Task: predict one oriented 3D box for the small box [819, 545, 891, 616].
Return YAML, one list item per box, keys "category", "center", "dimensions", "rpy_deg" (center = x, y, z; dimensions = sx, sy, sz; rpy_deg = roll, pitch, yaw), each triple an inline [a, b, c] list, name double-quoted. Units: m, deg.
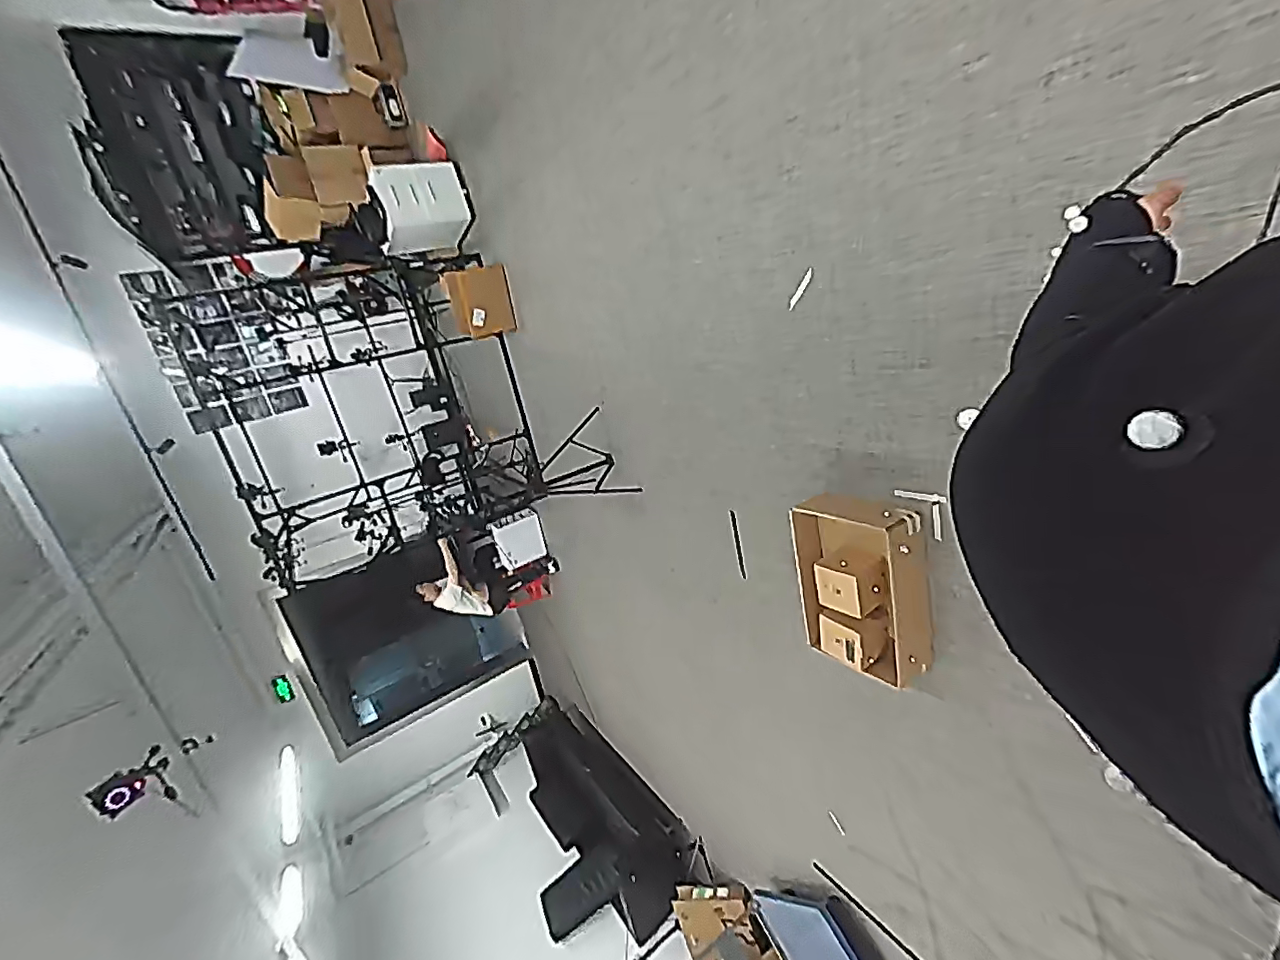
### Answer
- category: "small box"
  center: [0.765, 0.347, 1.913]
  dimensions: [0.179, 0.176, 0.168]
  rpy_deg: [13, 121, 56]
